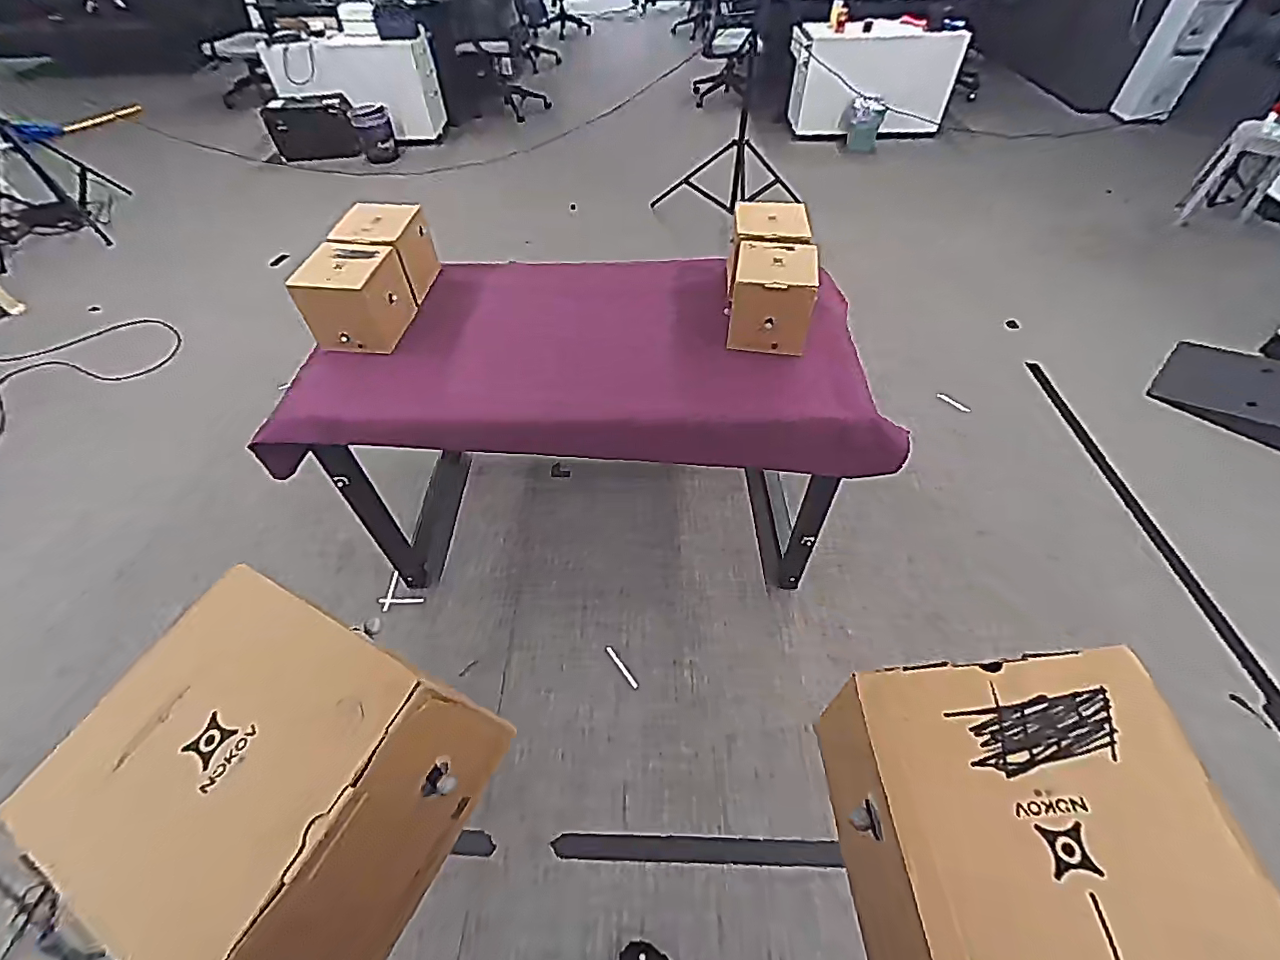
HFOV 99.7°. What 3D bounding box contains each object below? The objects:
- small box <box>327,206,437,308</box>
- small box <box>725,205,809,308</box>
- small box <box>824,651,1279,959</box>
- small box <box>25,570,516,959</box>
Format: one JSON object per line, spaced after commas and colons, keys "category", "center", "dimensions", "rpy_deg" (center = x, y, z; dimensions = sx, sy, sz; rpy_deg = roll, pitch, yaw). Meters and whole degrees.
{"category": "small box", "center": [-0.619, -0.548, 1.327], "dimensions": [0.168, 0.176, 0.179], "rpy_deg": [3, 51, 4]}
{"category": "small box", "center": [0.299, -0.542, 1.310], "dimensions": [0.168, 0.176, 0.179], "rpy_deg": [3, 50, 3]}
{"category": "small box", "center": [0.230, 0.227, 0.347], "dimensions": [0.168, 0.176, 0.179], "rpy_deg": [-7, 56, 4]}
{"category": "small box", "center": [-0.214, 0.193, 0.365], "dimensions": [0.179, 0.176, 0.168], "rpy_deg": [20, 61, 22]}
